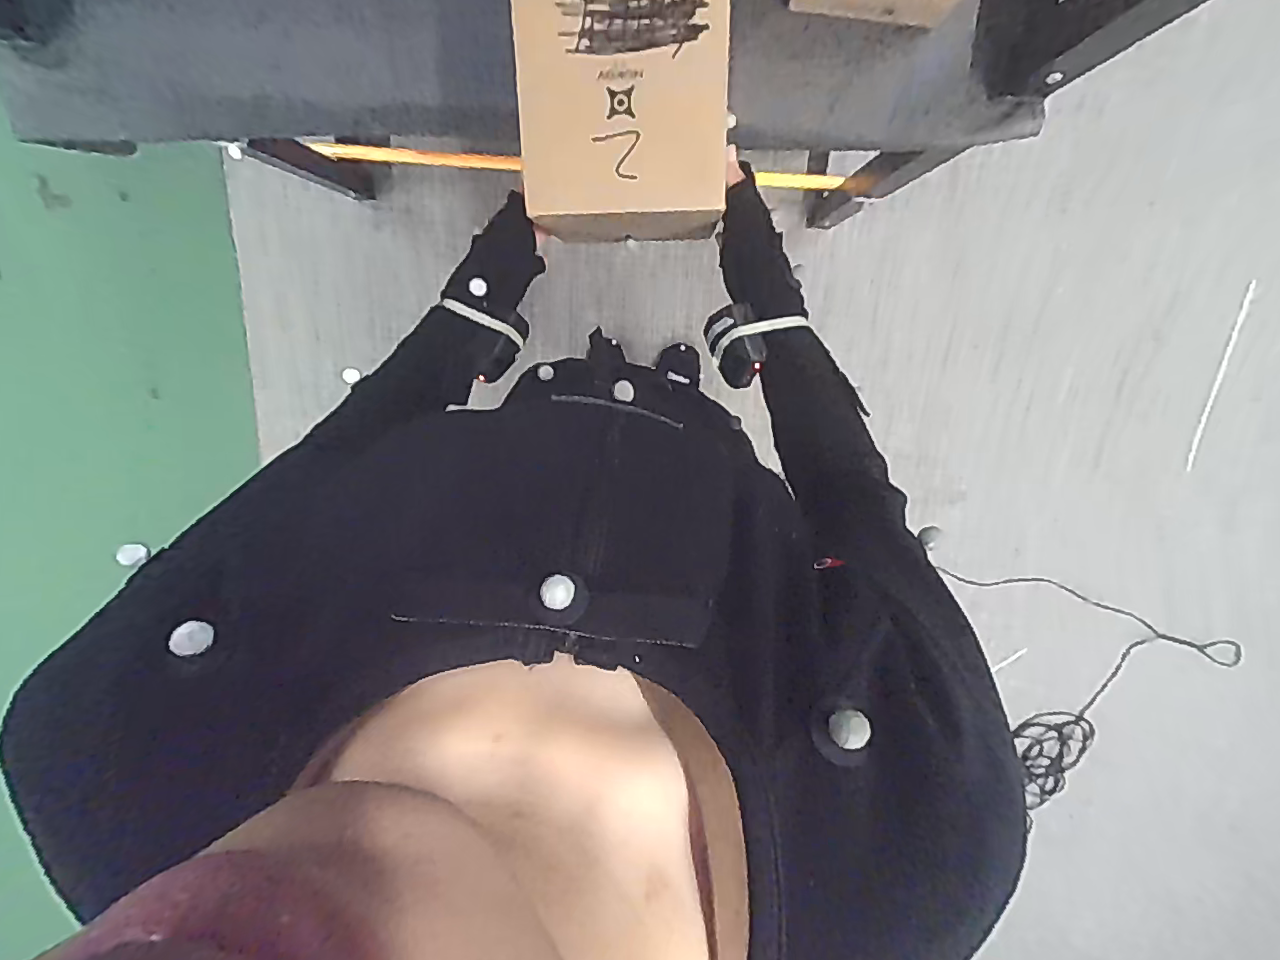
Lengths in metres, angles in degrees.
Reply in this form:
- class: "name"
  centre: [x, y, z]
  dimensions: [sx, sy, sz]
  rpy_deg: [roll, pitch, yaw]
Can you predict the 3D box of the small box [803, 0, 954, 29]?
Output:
- class: "small box"
  centre: [0.249, -0.561, 0.494]
  dimensions: [0.168, 0.176, 0.179]
  rpy_deg: [7, 105, 0]
